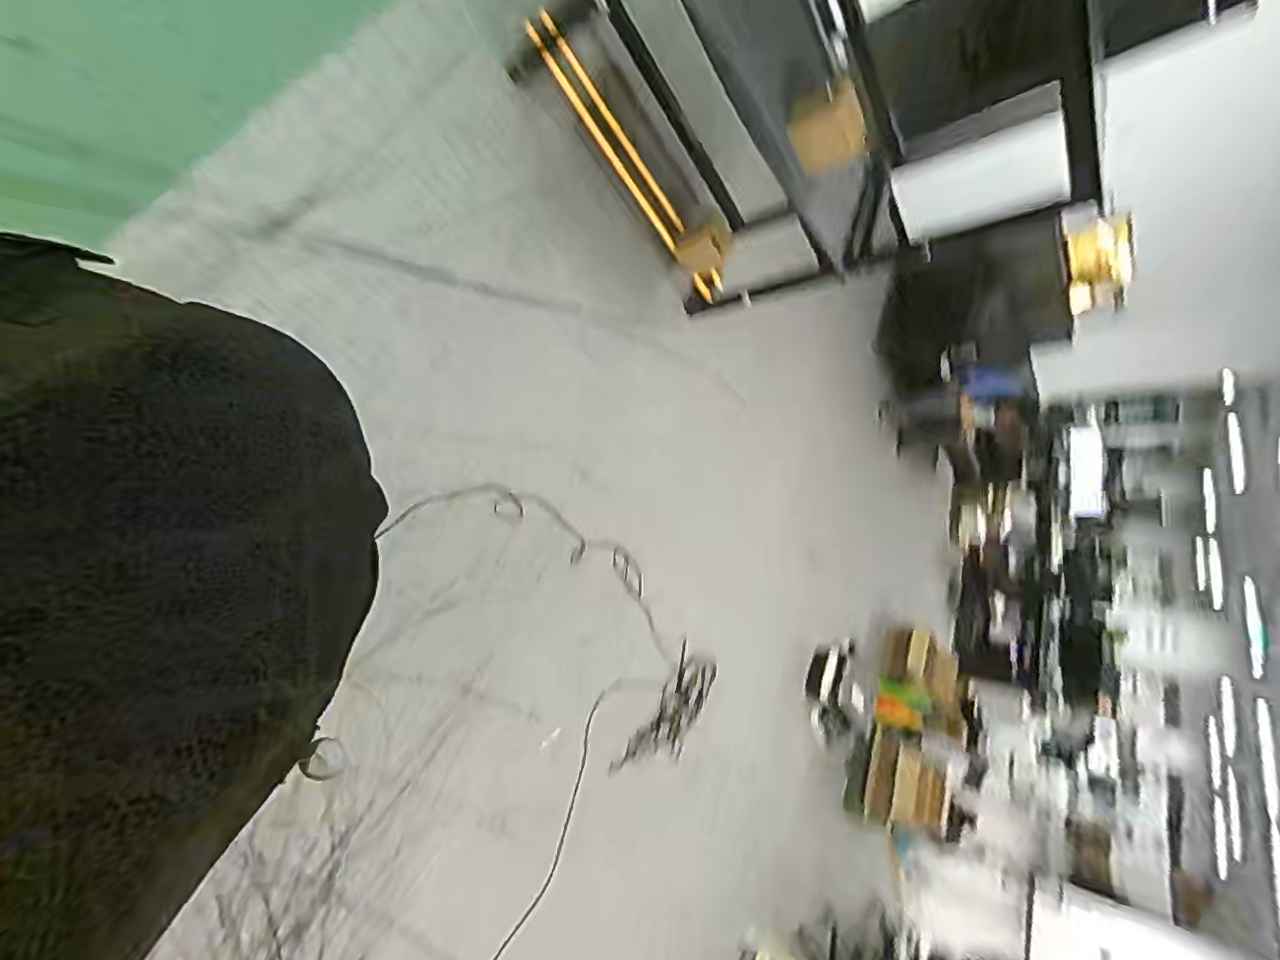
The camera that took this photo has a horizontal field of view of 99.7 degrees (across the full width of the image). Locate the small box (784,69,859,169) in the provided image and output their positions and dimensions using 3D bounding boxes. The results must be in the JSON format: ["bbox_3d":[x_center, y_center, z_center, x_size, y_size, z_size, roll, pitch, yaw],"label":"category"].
[{"bbox_3d":[0.577,-1.145,1.725,0.168,0.176,0.179,39,61,-39],"label":"small box"}]
